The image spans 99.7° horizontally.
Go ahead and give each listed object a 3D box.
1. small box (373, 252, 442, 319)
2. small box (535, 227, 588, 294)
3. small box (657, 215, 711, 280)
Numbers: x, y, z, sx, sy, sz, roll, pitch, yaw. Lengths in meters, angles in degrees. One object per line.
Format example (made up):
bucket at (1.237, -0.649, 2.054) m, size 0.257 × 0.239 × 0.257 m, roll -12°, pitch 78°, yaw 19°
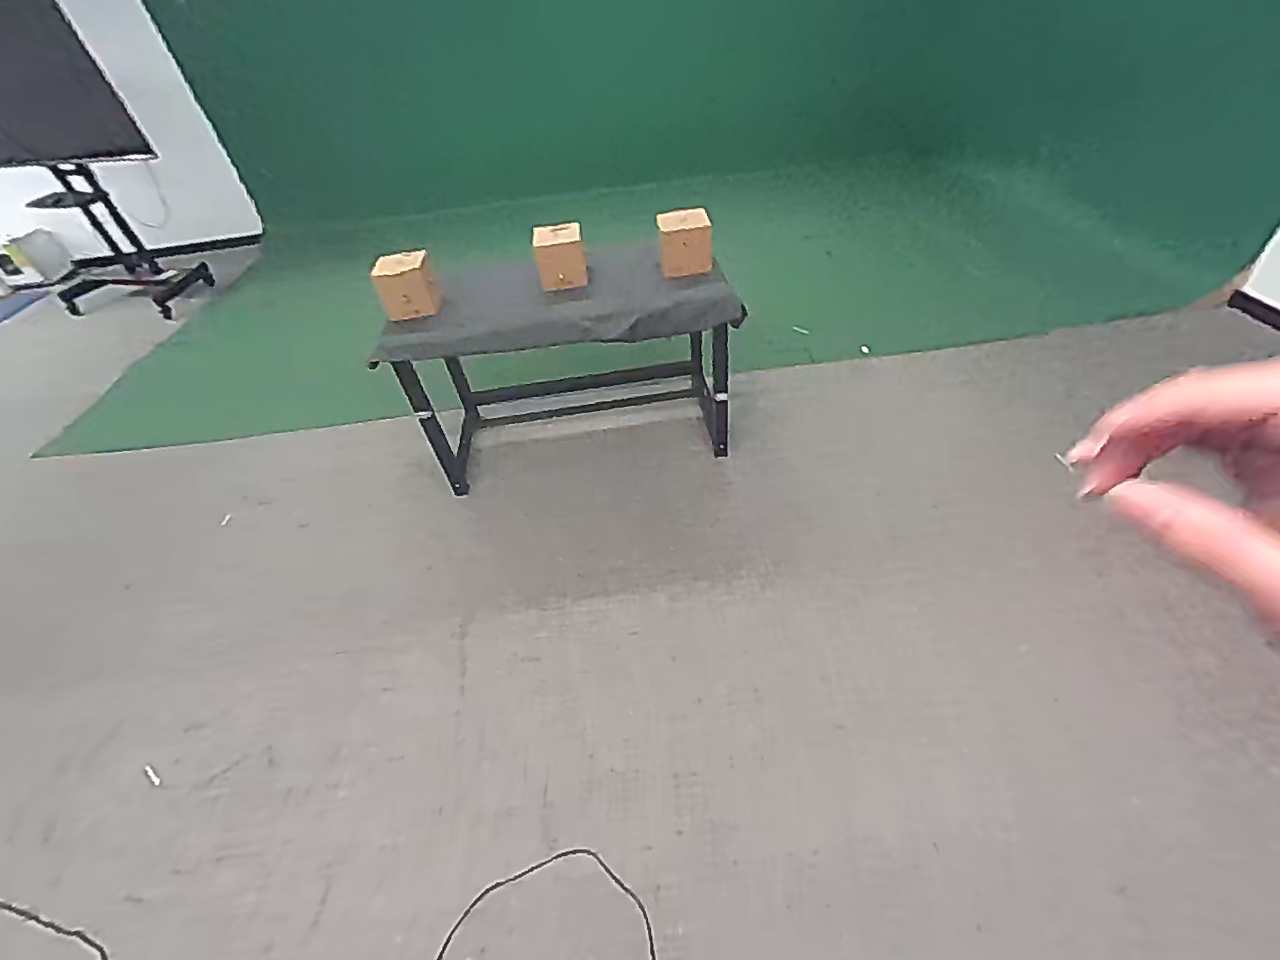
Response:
small box at (-0.821, -0.687, 1.930) m, size 0.168 × 0.176 × 0.179 m, roll -9°, pitch 44°, yaw -3°
small box at (-0.284, -0.805, 1.983) m, size 0.168 × 0.176 × 0.179 m, roll -8°, pitch 45°, yaw -1°
small box at (0.161, -0.839, 1.961) m, size 0.179 × 0.176 × 0.168 m, roll -6°, pitch 45°, yaw 0°
